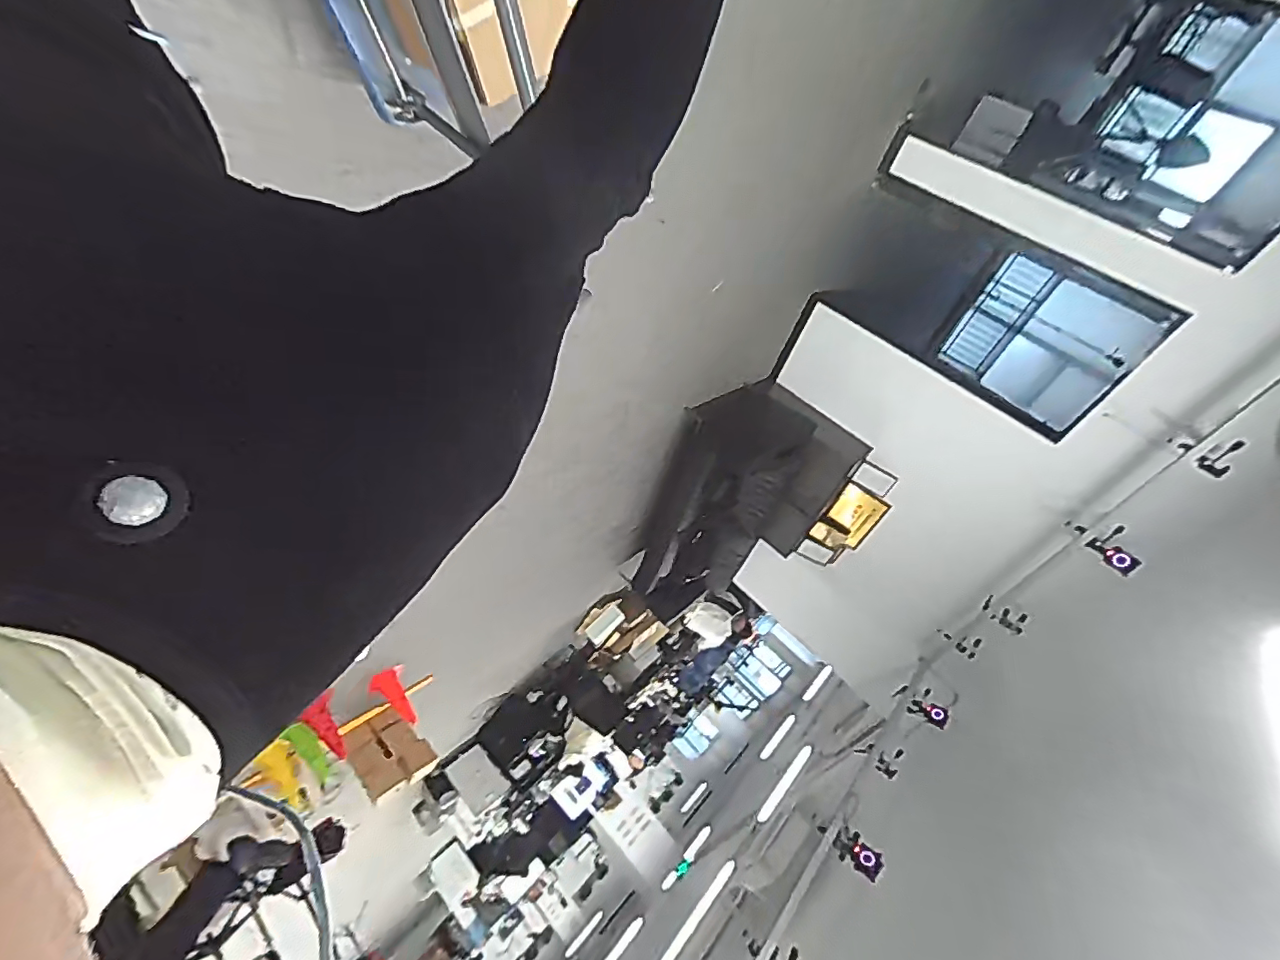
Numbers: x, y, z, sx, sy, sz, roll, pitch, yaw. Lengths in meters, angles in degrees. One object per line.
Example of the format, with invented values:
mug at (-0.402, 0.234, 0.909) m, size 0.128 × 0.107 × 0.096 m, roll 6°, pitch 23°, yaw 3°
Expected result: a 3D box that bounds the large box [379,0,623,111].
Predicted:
large box at (-0.297, -1.034, 1.066) m, size 0.408 × 0.320 × 0.320 m, roll -43°, pitch 158°, yaw -14°
